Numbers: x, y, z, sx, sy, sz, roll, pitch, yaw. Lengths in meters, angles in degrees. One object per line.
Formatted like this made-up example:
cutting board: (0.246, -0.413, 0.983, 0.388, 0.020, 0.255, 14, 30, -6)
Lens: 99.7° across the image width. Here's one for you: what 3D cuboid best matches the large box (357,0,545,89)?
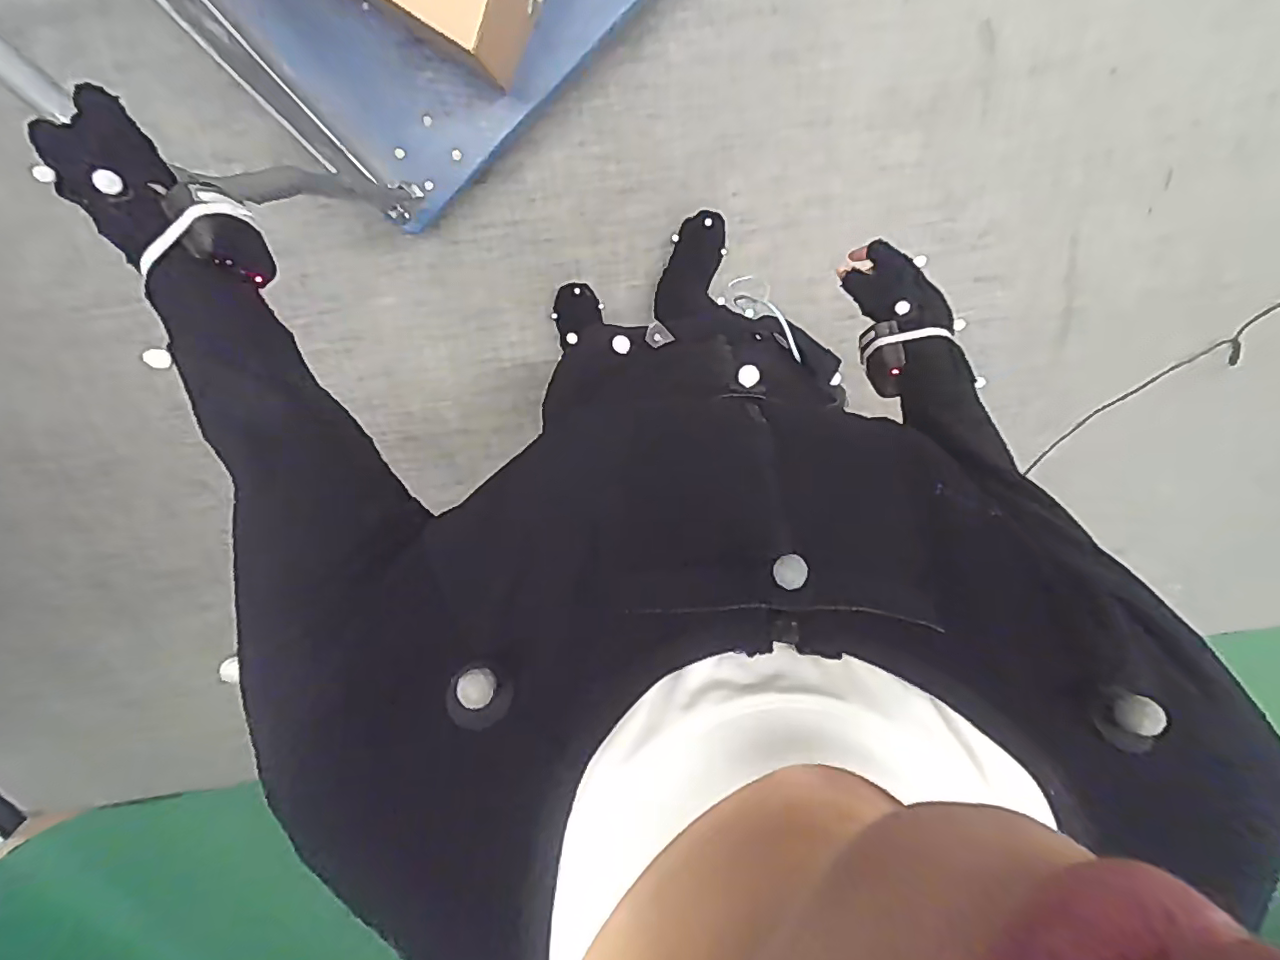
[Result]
large box: (-0.330, -0.841, 0.759, 0.408, 0.320, 0.320, 24, 113, -14)
